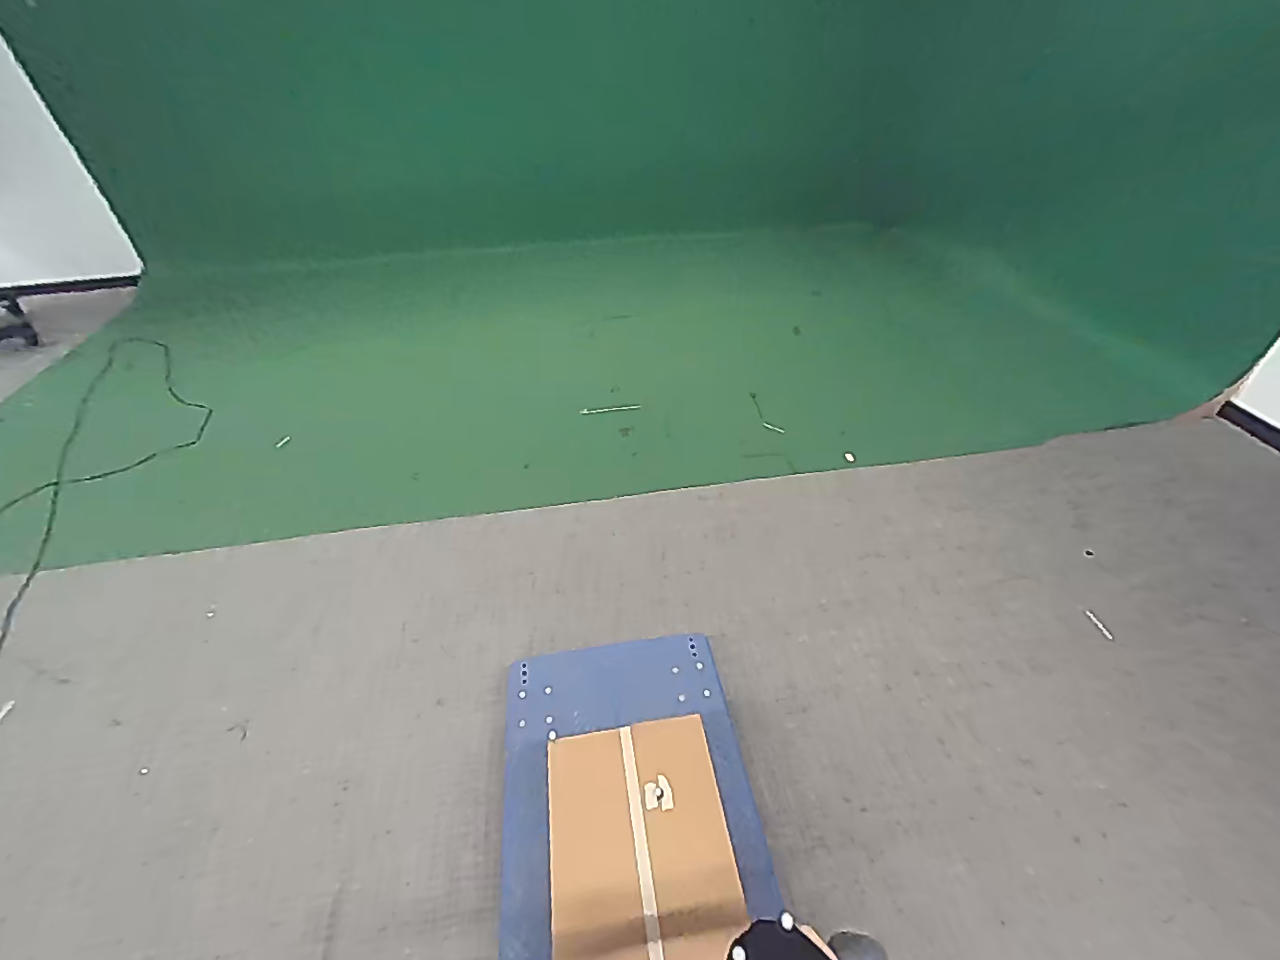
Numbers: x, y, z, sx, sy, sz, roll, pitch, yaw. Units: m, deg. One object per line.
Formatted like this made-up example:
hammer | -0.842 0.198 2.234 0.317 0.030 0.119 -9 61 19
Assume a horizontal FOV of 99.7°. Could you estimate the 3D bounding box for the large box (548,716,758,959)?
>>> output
large box | 0.006 0.743 1.043 0.320 0.320 0.408 -7 41 -5
